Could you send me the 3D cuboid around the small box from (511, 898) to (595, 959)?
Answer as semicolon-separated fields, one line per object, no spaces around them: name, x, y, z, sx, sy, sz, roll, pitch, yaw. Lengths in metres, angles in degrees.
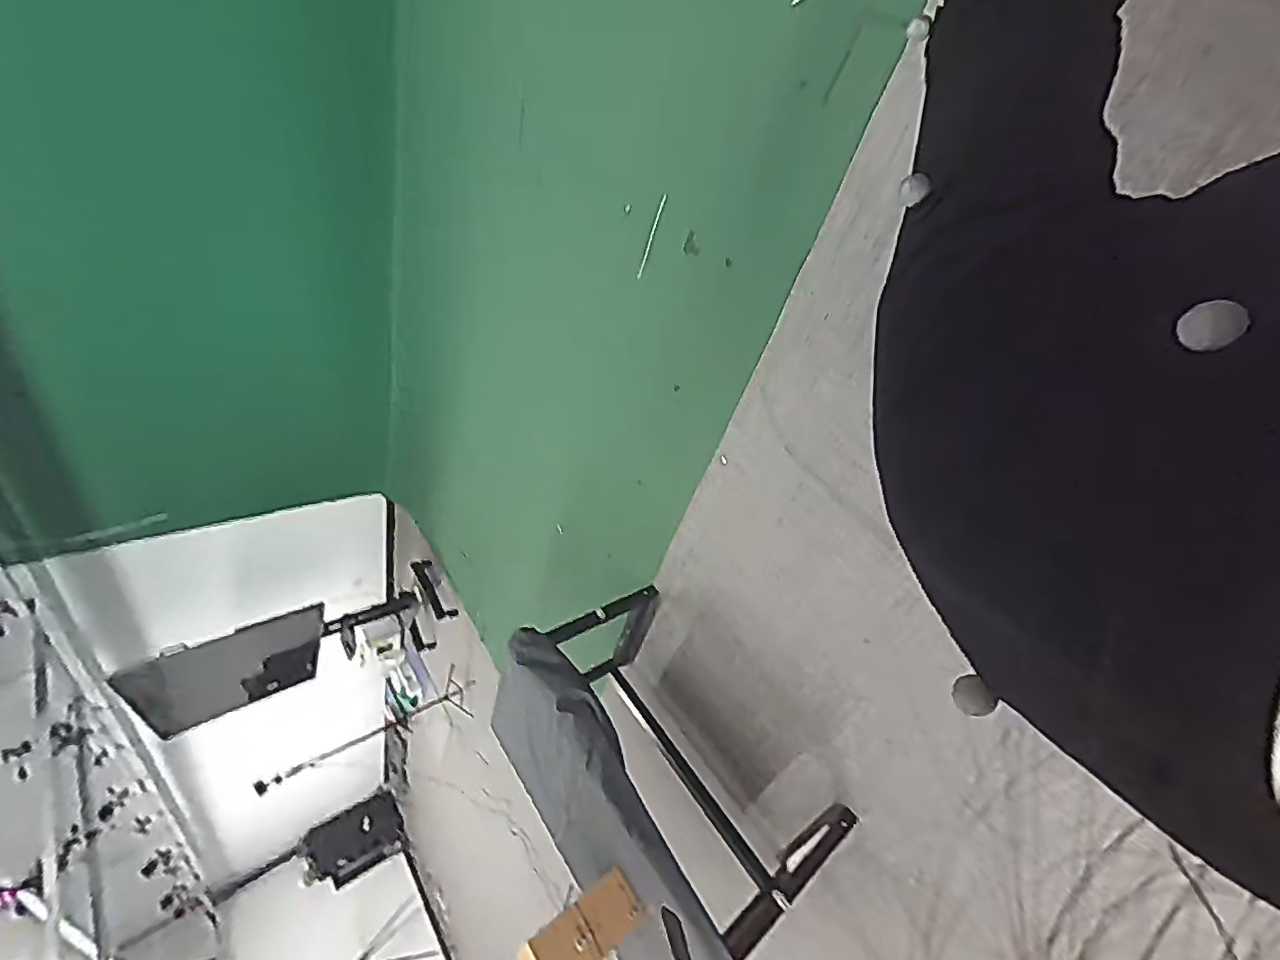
small box;-0.255;1.383;1.584;0.168;0.176;0.179;46;131;30

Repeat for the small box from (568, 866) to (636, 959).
small box;-0.134;1.356;1.689;0.168;0.176;0.179;47;134;30
